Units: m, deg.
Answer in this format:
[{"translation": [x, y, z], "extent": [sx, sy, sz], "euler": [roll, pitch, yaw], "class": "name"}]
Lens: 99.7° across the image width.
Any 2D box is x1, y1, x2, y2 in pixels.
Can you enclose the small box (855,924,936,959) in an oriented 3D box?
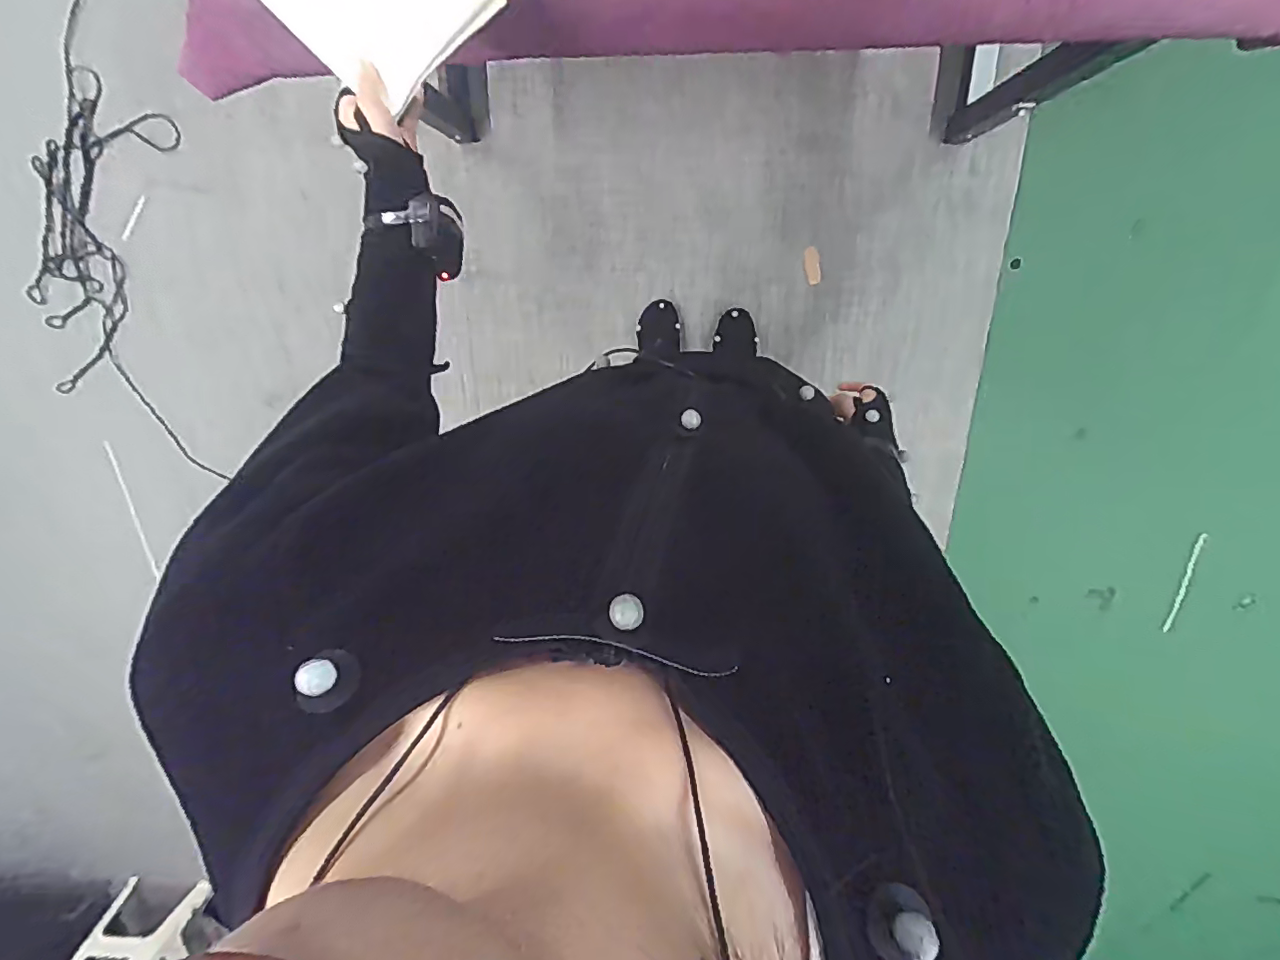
[{"translation": [0.631, 1.216, 1.300], "extent": [0.179, 0.176, 0.168], "euler": [-13, 106, 9], "class": "small box"}]
